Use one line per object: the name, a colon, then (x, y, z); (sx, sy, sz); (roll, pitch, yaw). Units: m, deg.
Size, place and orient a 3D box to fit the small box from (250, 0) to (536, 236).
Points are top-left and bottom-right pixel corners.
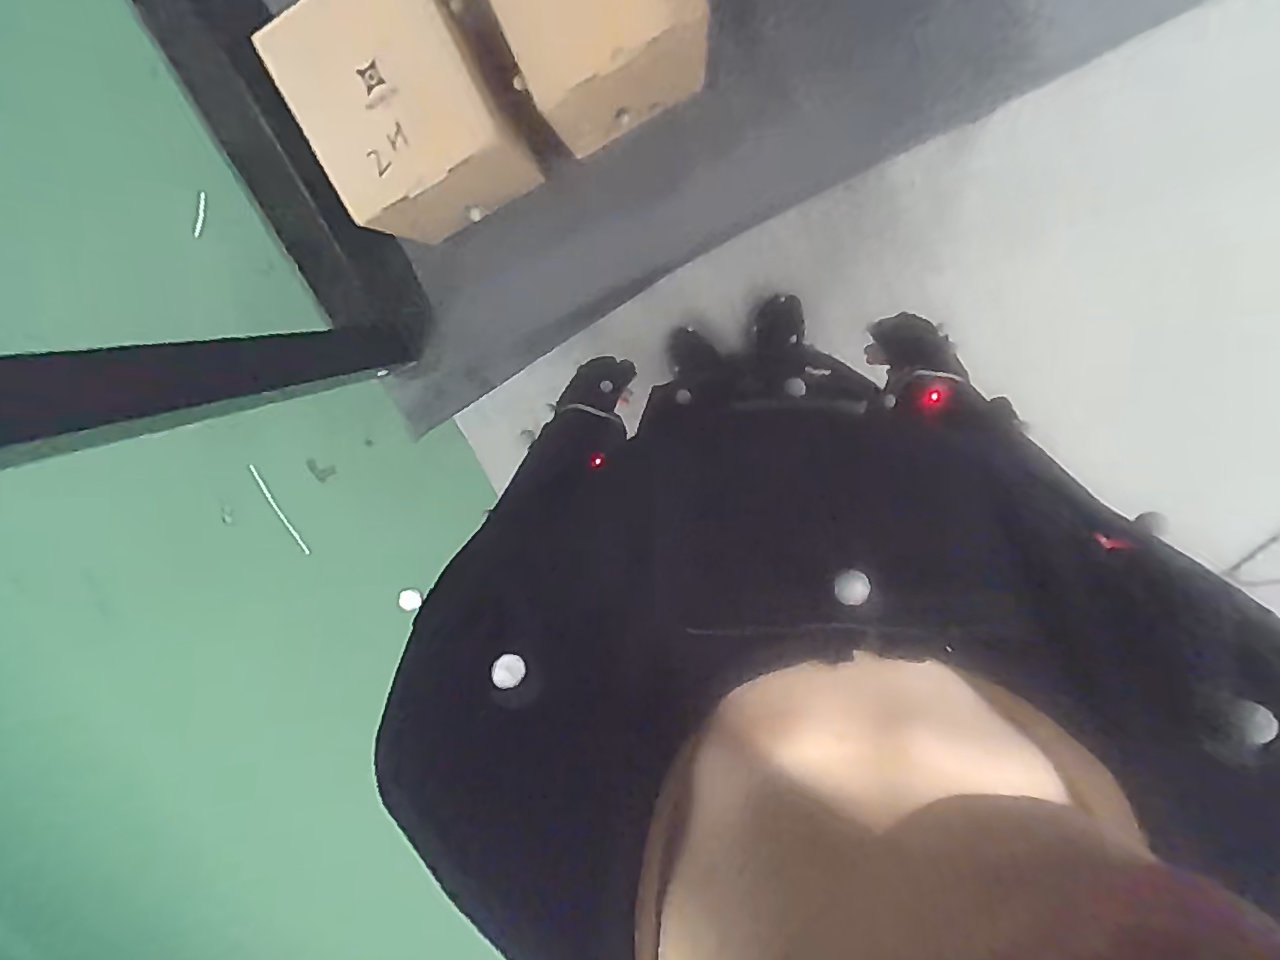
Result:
small box: (-0.233, -0.381, 0.559); (0.168, 0.176, 0.179); (-23, 104, 12)
